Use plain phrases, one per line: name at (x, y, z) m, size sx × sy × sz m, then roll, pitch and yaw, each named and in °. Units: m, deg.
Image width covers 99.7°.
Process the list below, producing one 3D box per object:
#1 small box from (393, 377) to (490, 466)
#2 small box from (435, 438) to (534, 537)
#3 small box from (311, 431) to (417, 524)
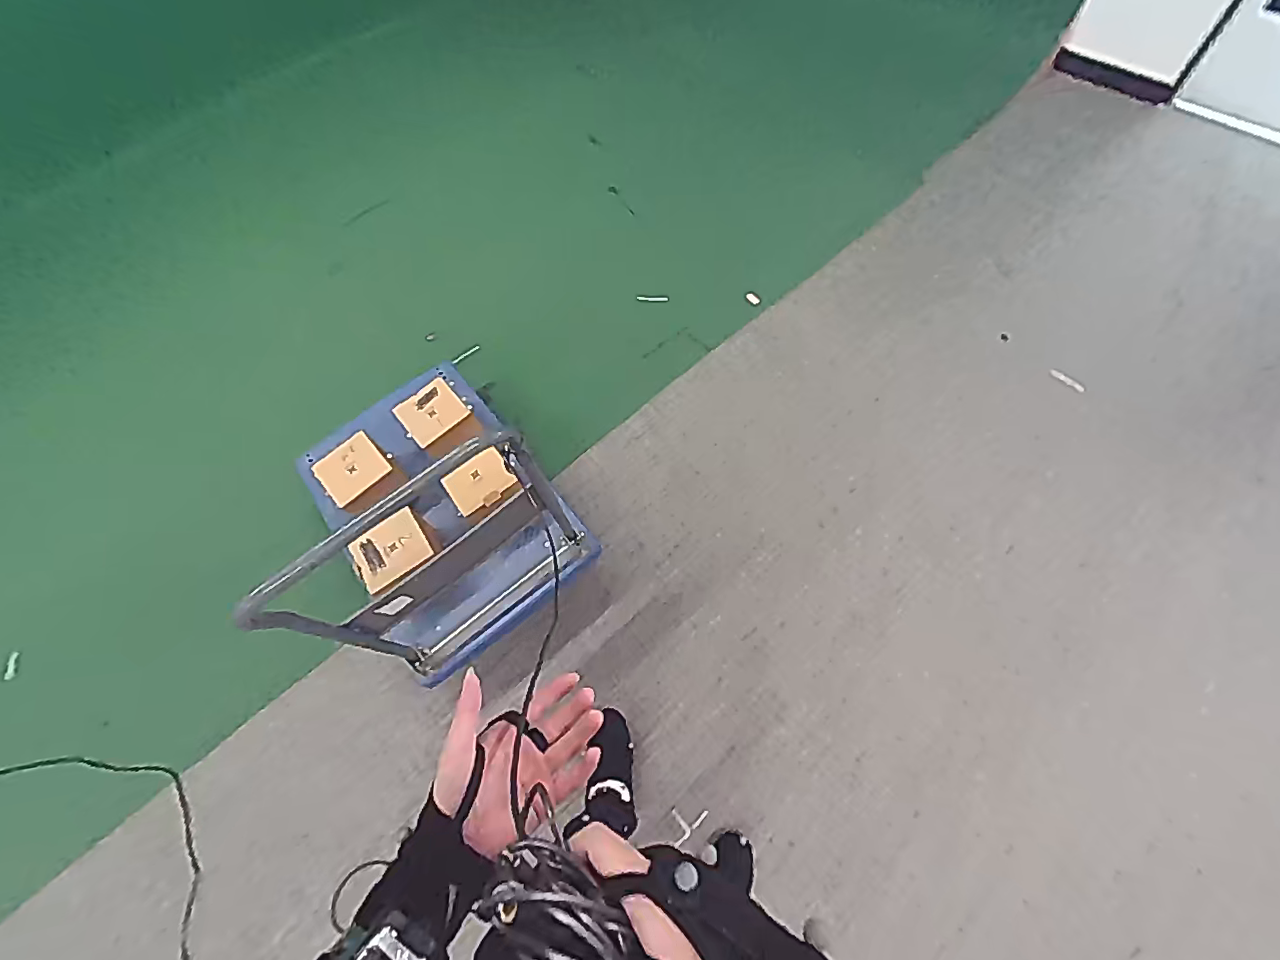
small box at (-0.569, -0.156, 1.566) m, size 0.168 × 0.176 × 0.179 m, roll -40°, pitch 68°, yaw -11°
small box at (-0.415, 0.025, 1.464) m, size 0.168 × 0.176 × 0.179 m, roll -36°, pitch 67°, yaw -11°
small box at (-0.764, 0.003, 1.515) m, size 0.168 × 0.176 × 0.179 m, roll -41°, pitch 67°, yaw -13°
